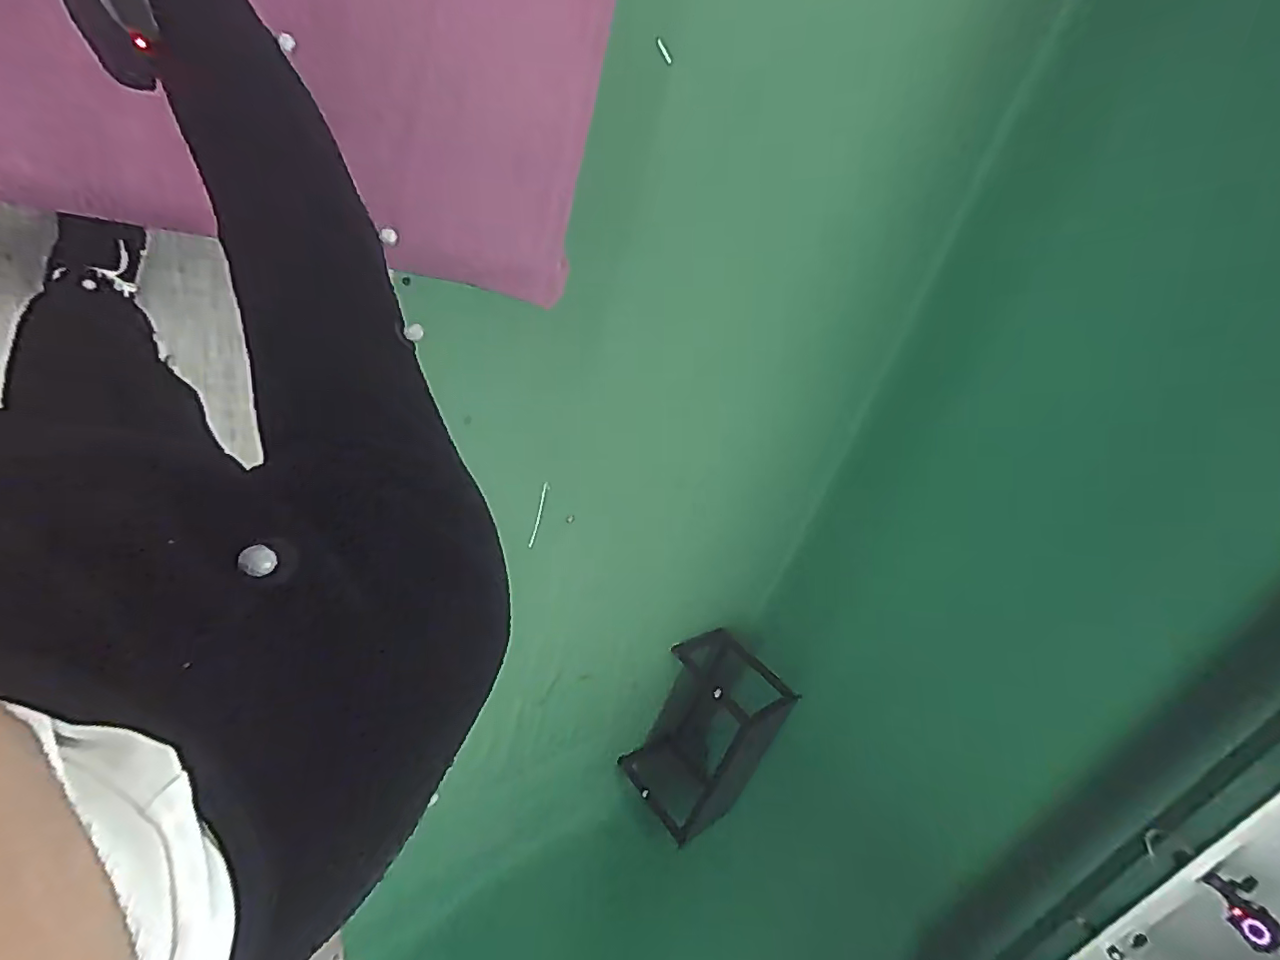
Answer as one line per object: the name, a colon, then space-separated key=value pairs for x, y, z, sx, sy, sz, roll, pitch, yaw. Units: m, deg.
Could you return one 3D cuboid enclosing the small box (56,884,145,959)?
small box: x=-1.547 y=1.323 z=1.555 sx=0.168 sy=0.176 sz=0.179 roll=-9 pitch=127 yaw=-43
